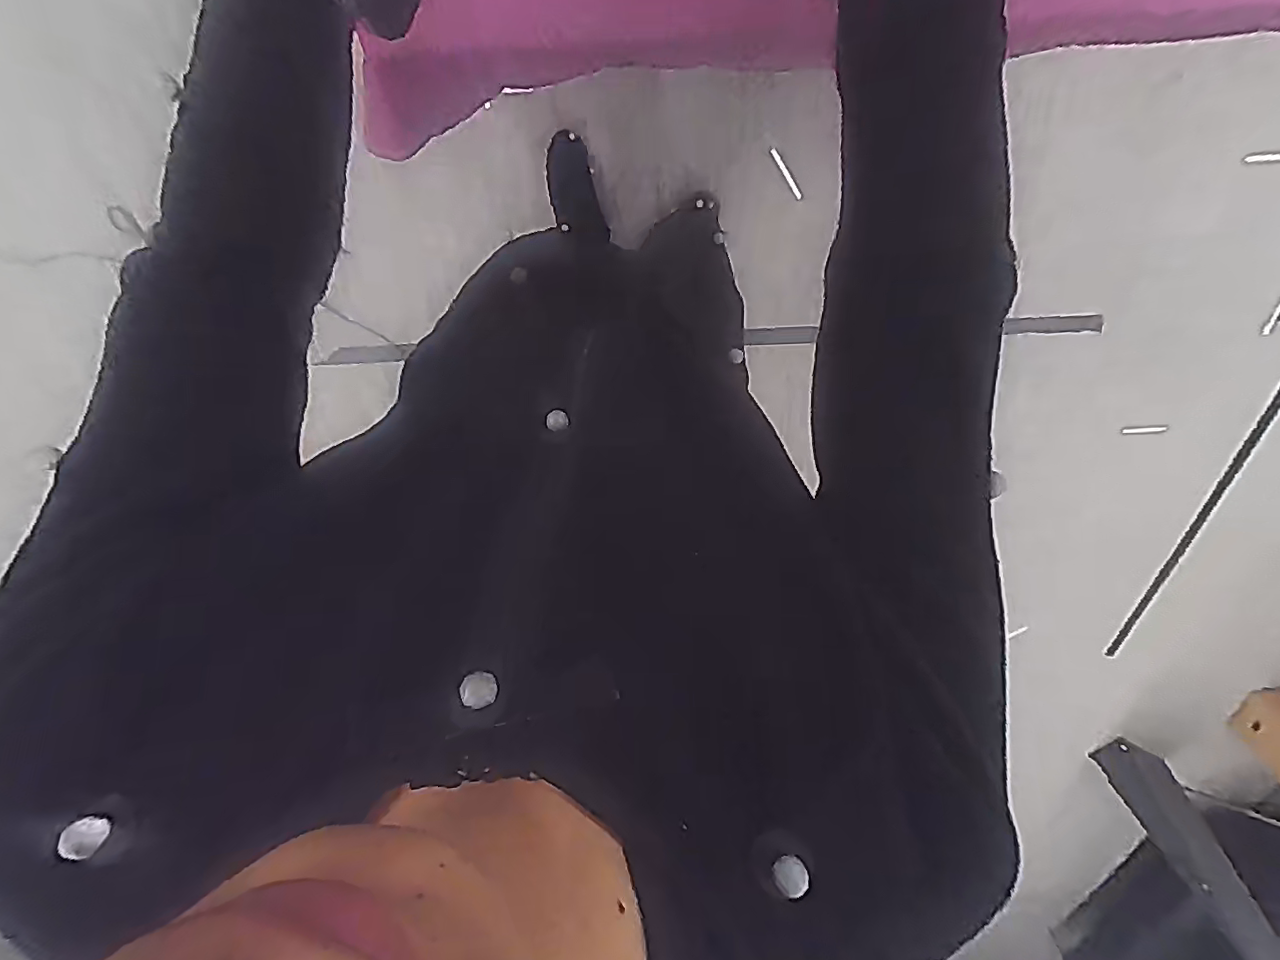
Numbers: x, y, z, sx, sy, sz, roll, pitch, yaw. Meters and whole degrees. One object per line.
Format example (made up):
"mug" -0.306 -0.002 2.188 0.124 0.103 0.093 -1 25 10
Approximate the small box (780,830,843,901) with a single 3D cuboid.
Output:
"small box" 0.631 1.435 2.014 0.168 0.176 0.179 -2 124 -4
